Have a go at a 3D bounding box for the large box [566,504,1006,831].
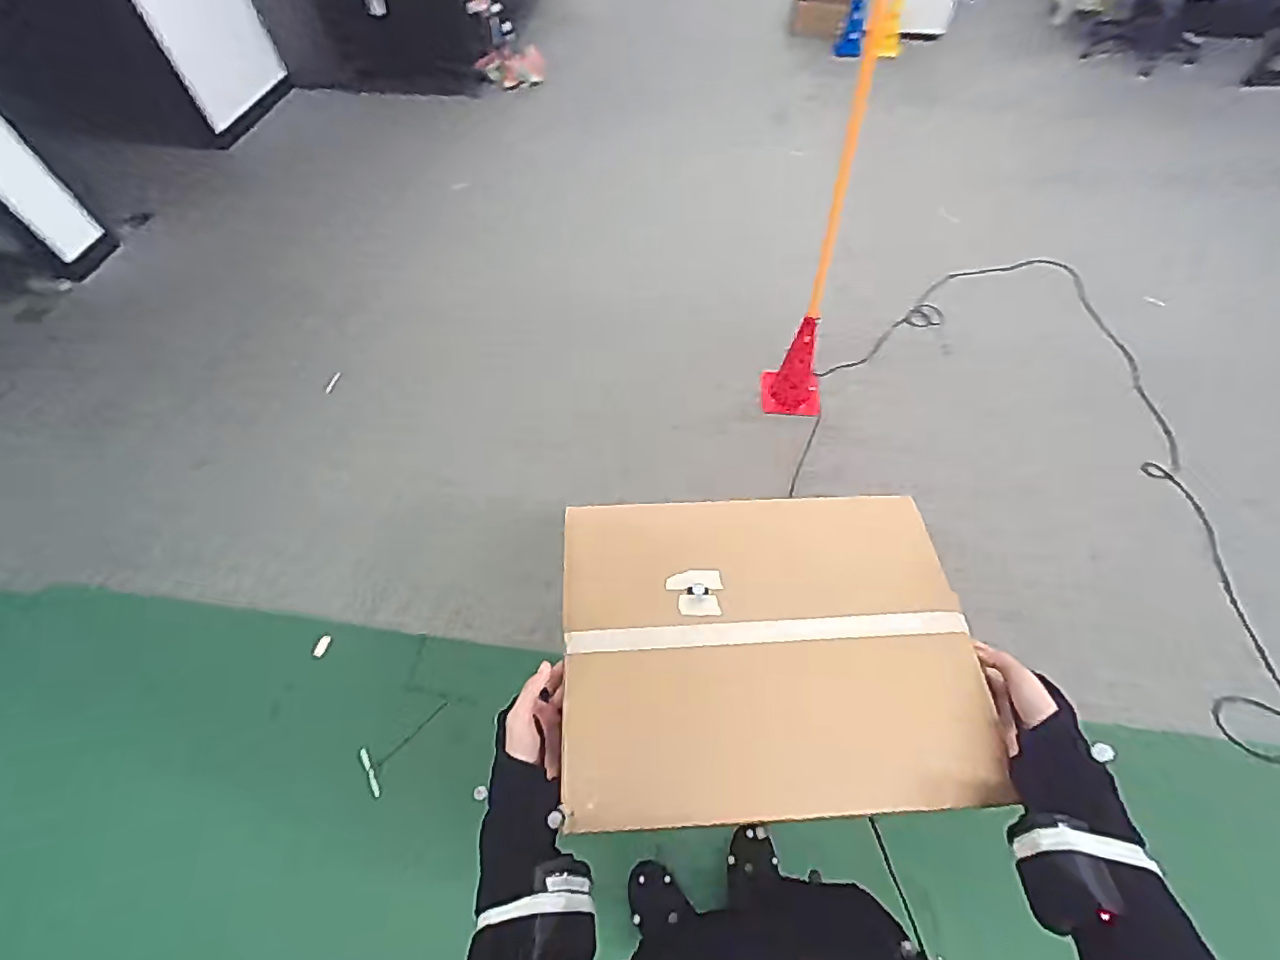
[{"bbox_3d":[0.126,0.242,0.680,0.408,0.320,0.320,-1,58,-2],"label":"large box"}]
